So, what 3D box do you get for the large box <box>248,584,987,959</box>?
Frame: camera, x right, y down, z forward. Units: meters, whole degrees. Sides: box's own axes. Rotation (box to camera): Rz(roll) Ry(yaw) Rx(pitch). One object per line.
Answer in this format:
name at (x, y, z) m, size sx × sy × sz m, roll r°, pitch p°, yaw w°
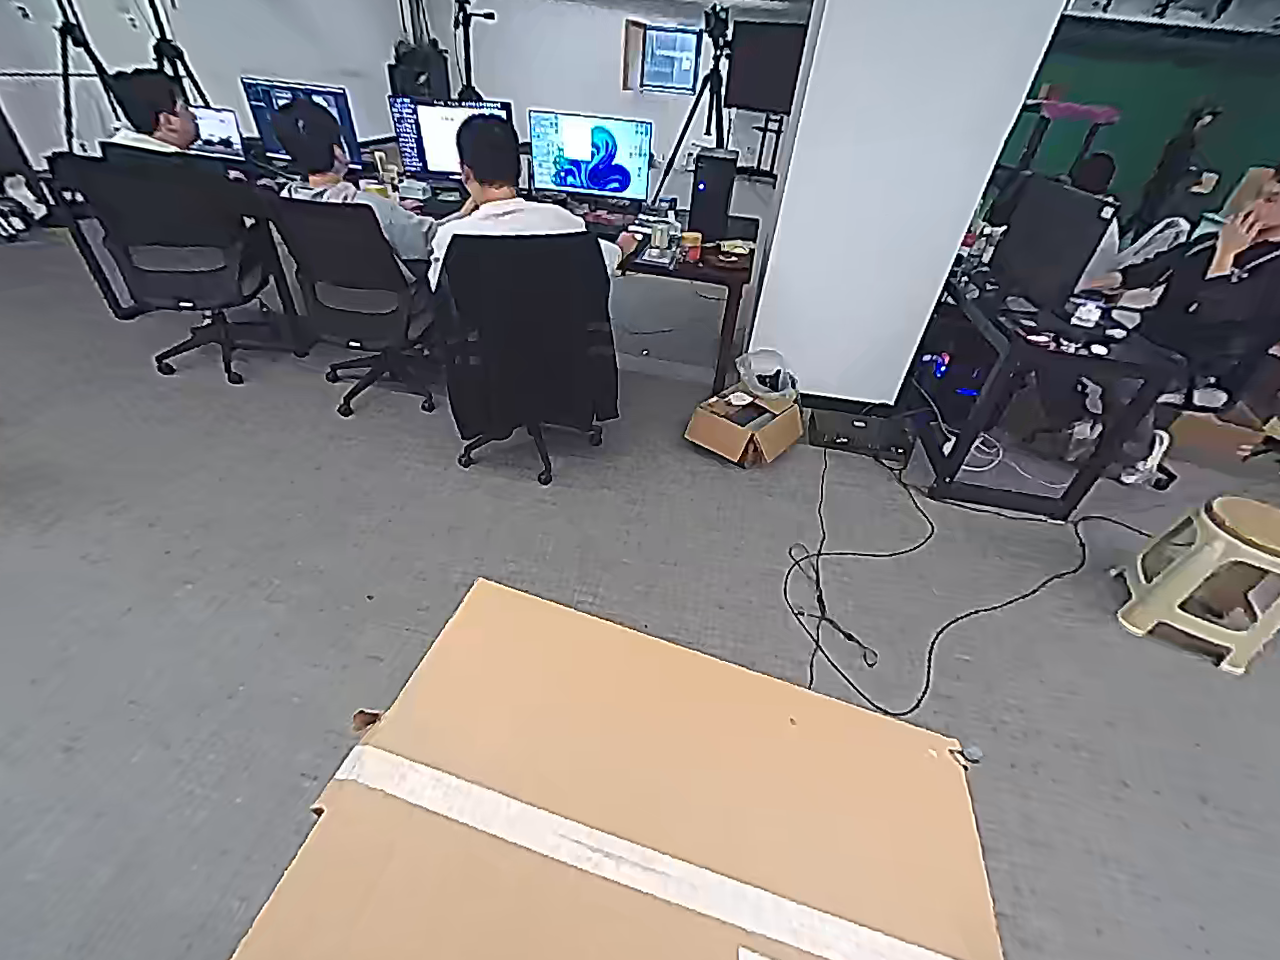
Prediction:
large box at (-0.012, 0.346, 0.427) m, size 0.408 × 0.320 × 0.320 m, roll 19°, pitch 41°, yaw 4°
